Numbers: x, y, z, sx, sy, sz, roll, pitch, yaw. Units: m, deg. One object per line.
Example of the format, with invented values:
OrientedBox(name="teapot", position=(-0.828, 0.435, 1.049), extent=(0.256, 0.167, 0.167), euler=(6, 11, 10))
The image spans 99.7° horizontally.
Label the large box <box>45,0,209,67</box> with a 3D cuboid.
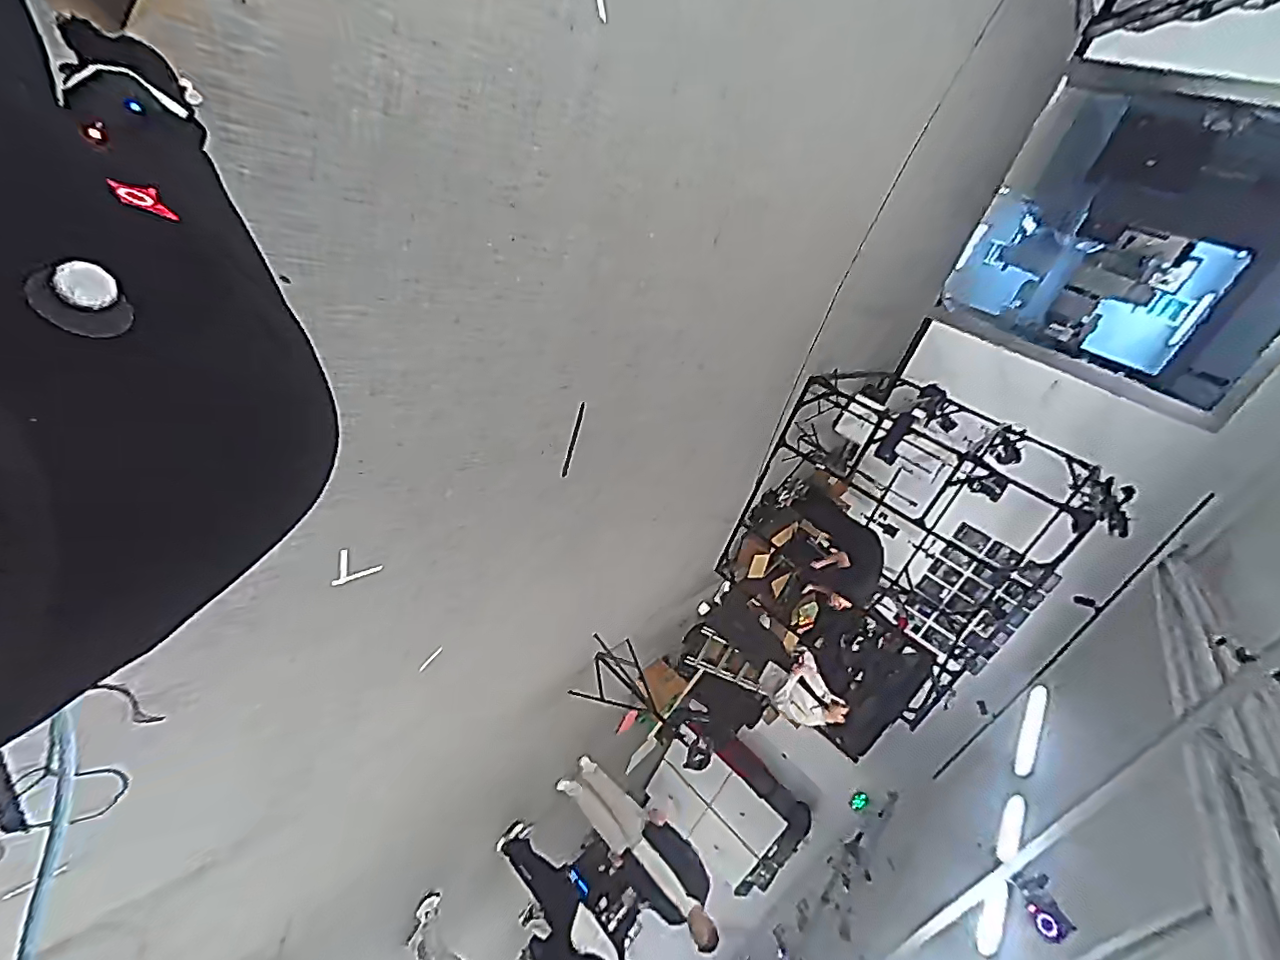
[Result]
OrientedBox(name="large box", position=(-0.452, -0.614, 0.430), extent=(0.320, 0.408, 0.320), euler=(-51, 139, -13))
